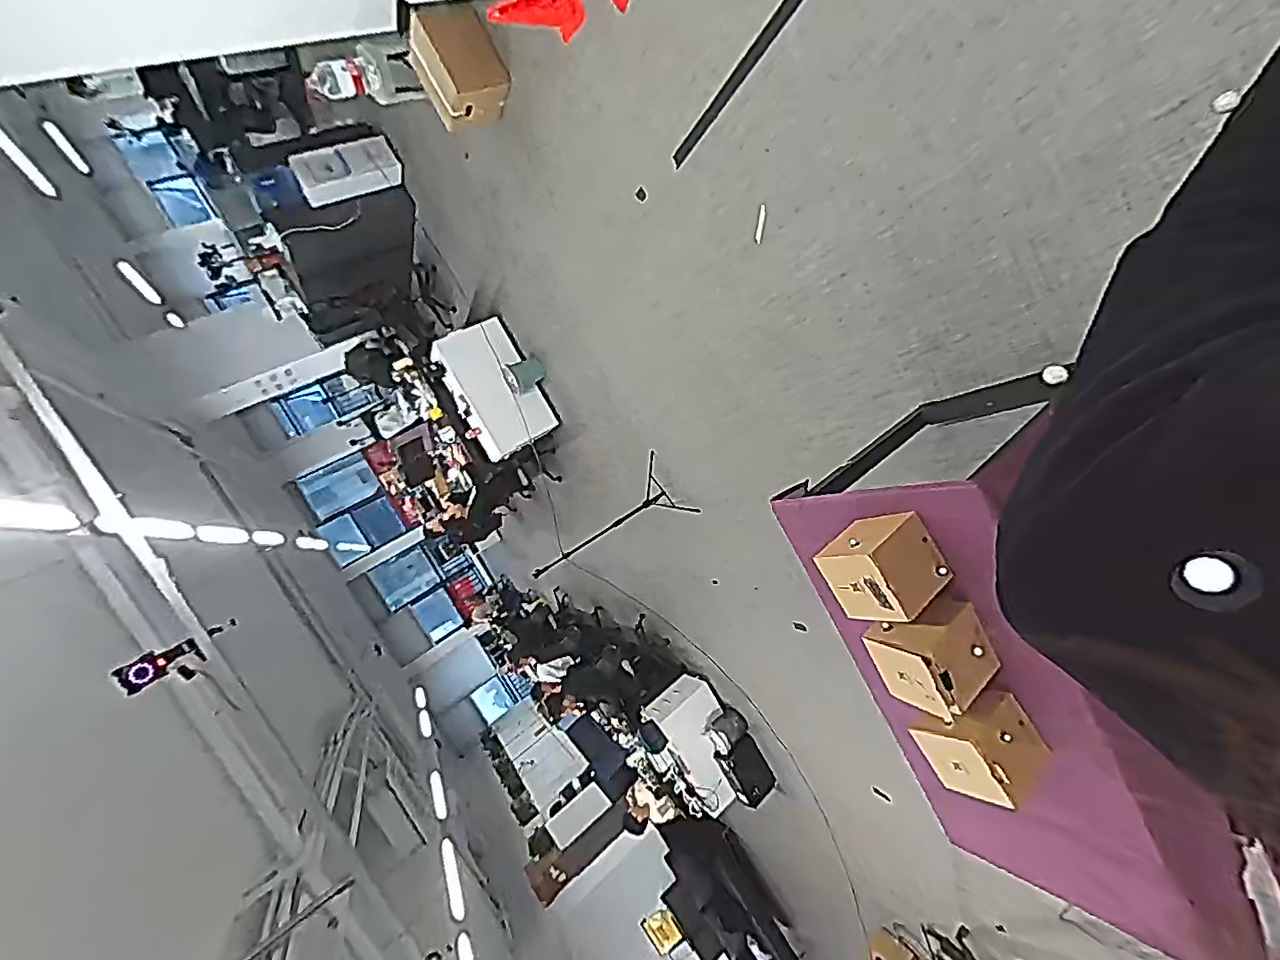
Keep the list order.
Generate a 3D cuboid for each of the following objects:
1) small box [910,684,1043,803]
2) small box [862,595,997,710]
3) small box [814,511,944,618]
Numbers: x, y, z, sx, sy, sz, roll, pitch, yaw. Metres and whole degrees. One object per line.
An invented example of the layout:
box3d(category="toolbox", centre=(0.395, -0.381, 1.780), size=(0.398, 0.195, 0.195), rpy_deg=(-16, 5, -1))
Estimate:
box3d(category="small box", centre=(0.769, 0.581, 1.228), size=(0.168, 0.176, 0.179), rpy_deg=(57, 156, 1))
box3d(category="small box", centre=(0.644, 0.370, 1.203), size=(0.168, 0.176, 0.179), rpy_deg=(61, 156, -8))
box3d(category="small box", centre=(0.529, 0.182, 1.189), size=(0.168, 0.176, 0.179), rpy_deg=(58, 157, -2))
